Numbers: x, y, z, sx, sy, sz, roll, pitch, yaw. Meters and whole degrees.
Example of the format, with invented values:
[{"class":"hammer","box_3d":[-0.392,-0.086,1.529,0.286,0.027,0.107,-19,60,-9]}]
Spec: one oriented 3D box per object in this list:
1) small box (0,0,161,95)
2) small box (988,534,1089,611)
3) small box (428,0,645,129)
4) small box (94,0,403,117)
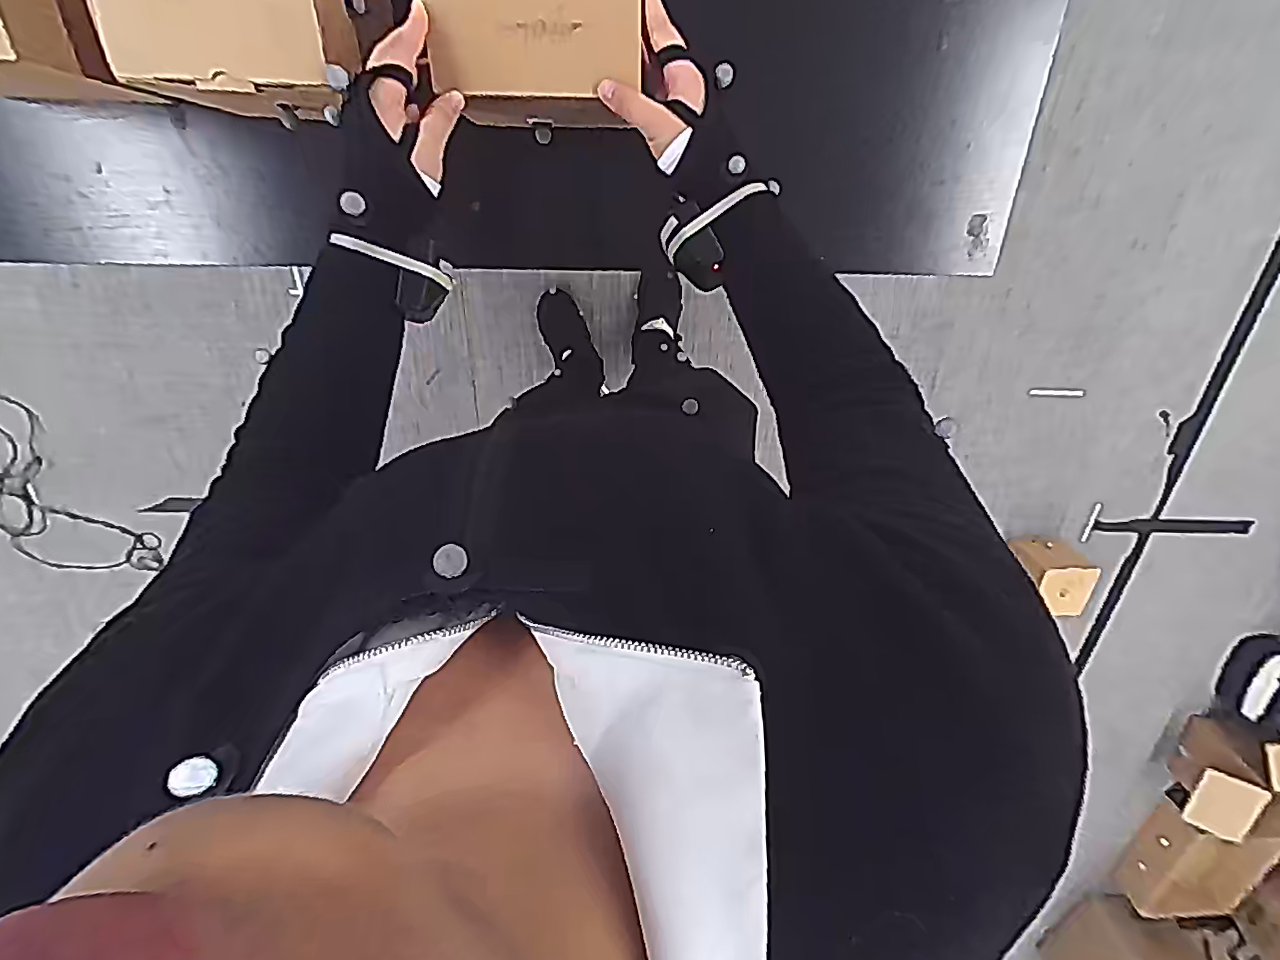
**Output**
[{"class":"small box","box_3d":[-0.550,-0.428,0.437,0.179,0.176,0.168,0,117,-4]},{"class":"small box","box_3d":[1.230,0.288,1.688,0.168,0.176,0.179,0,117,-2]},{"class":"small box","box_3d":[-0.080,-0.418,0.466,0.168,0.176,0.179,-1,117,-1]},{"class":"small box","box_3d":[-0.318,-0.420,0.453,0.168,0.176,0.179,2,117,-3]}]
